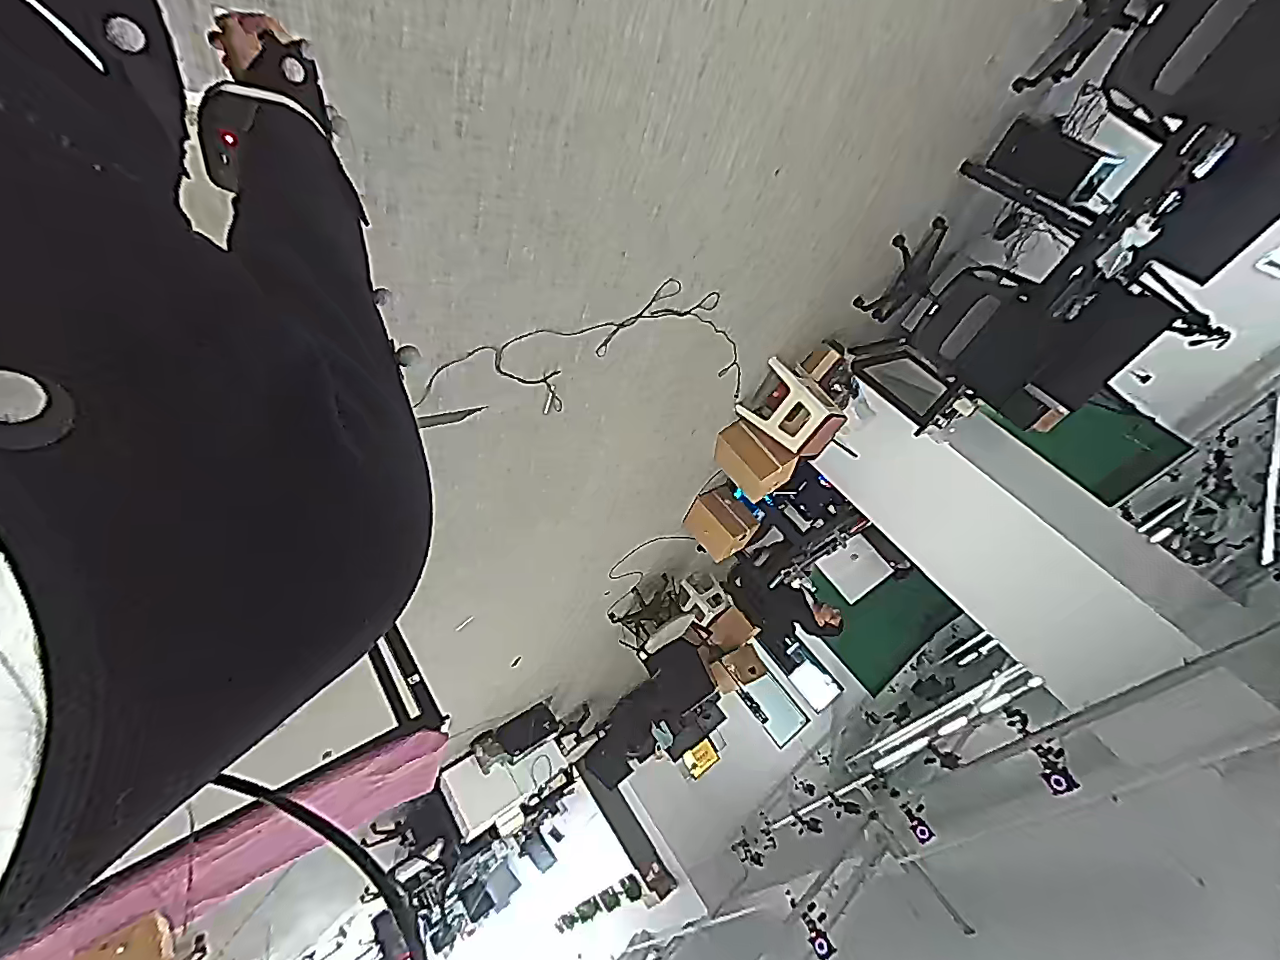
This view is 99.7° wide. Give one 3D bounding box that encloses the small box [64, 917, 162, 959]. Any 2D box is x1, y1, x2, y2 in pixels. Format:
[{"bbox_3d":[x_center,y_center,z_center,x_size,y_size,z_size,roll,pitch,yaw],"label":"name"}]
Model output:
[{"bbox_3d":[-1.383,1.307,1.428,0.168,0.176,0.179,-16,145,-42],"label":"small box"}]
